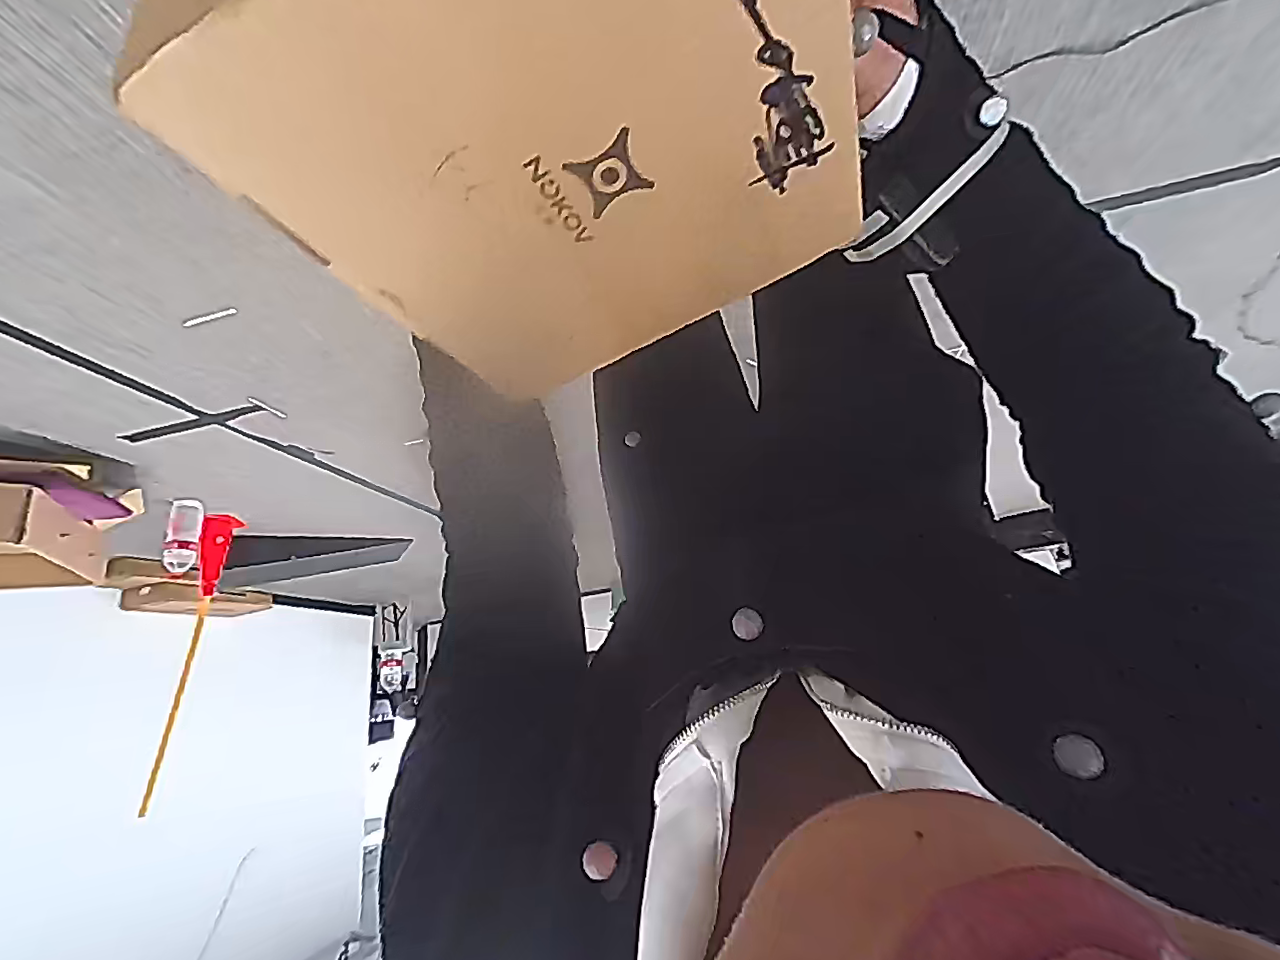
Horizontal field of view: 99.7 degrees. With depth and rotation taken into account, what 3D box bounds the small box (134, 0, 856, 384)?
[{"bbox_3d":[-0.034,-0.174,0.213,0.179,0.176,0.168,-21,154,16],"label":"small box"}]
